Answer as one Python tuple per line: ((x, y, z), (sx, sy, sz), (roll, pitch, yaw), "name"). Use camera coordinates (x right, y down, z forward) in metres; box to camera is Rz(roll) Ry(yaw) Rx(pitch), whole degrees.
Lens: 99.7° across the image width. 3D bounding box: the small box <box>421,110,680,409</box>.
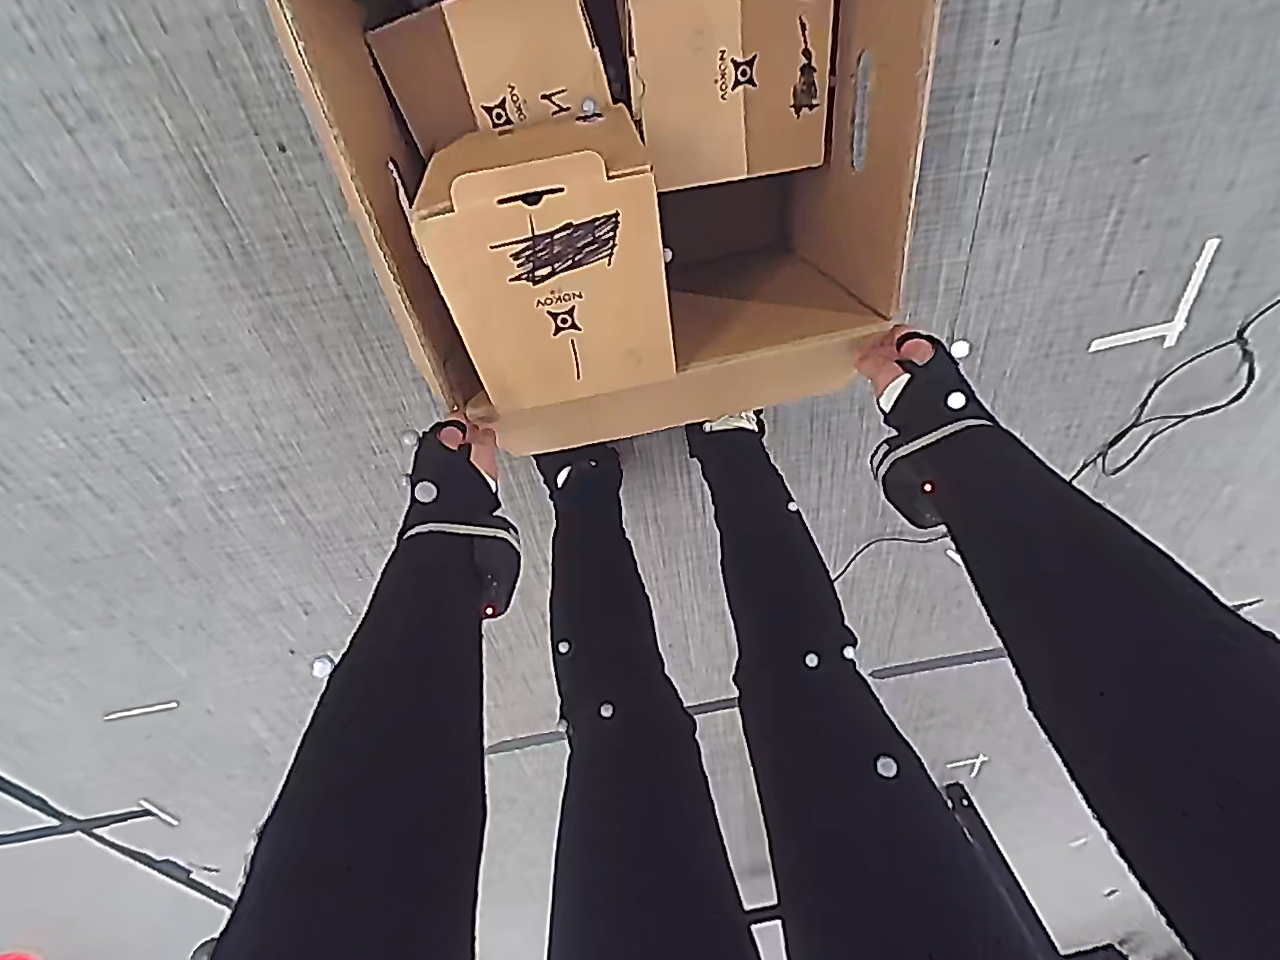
((-0.065, -0.192, 0.464), (0.168, 0.176, 0.179), (-11, 138, 0), "small box")
